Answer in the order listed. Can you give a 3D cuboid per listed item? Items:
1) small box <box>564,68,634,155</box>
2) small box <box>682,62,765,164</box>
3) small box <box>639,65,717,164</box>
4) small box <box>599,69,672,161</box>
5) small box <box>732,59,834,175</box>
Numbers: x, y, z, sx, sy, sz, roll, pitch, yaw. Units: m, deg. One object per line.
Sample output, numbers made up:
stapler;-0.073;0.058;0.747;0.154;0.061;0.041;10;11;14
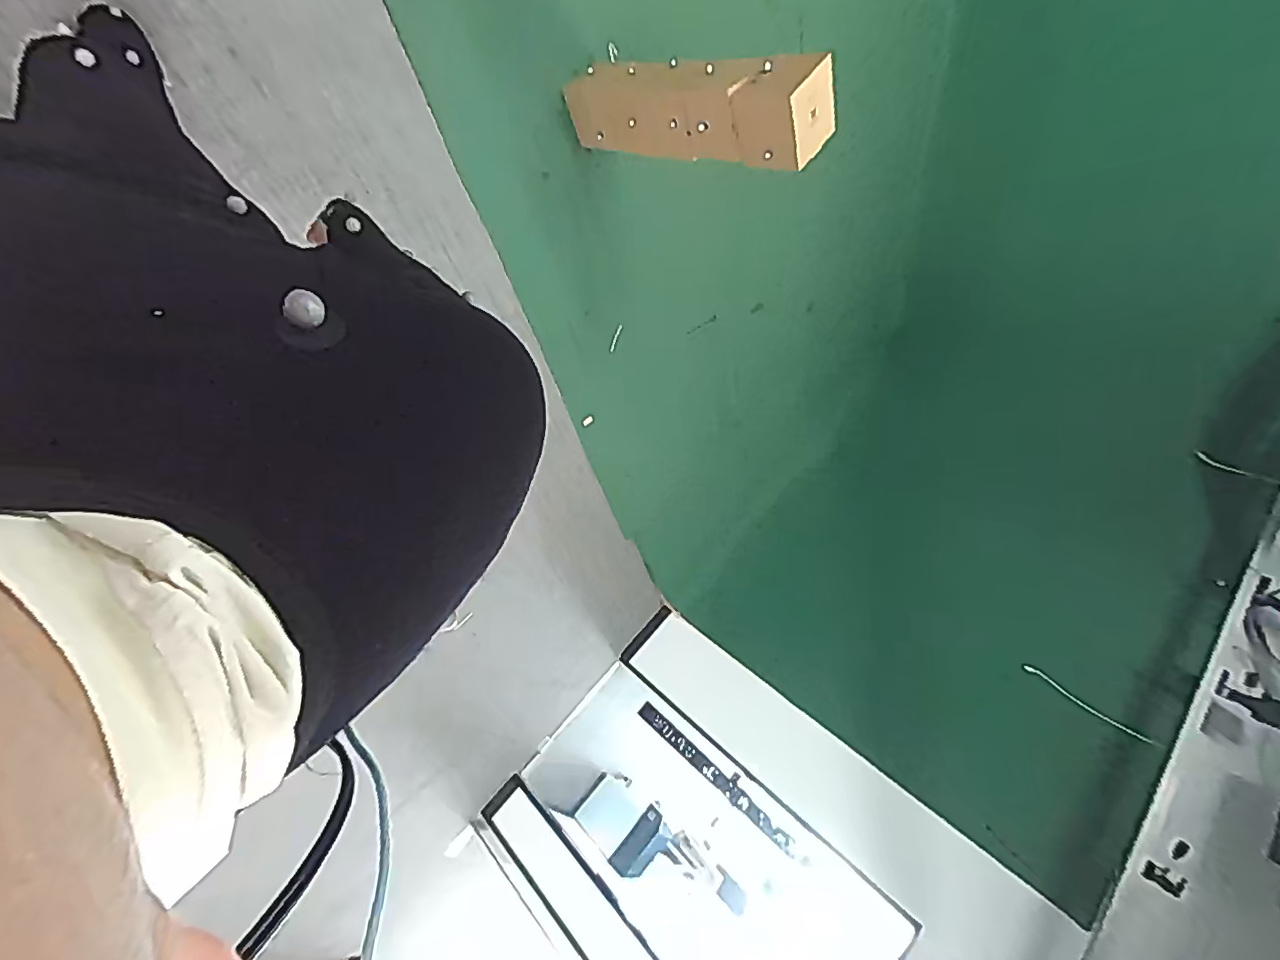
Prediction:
small box;-0.106;-1.152;1.686;0.168;0.176;0.179;-47;144;-17
small box;0.223;-0.943;1.390;0.179;0.176;0.168;-44;143;-18
small box;0.120;-1.012;1.498;0.168;0.176;0.179;-46;144;-16
small box;0.008;-1.080;1.595;0.168;0.176;0.179;-45;143;-18
small box;0.346;-0.876;1.304;0.168;0.176;0.179;-51;144;-13
